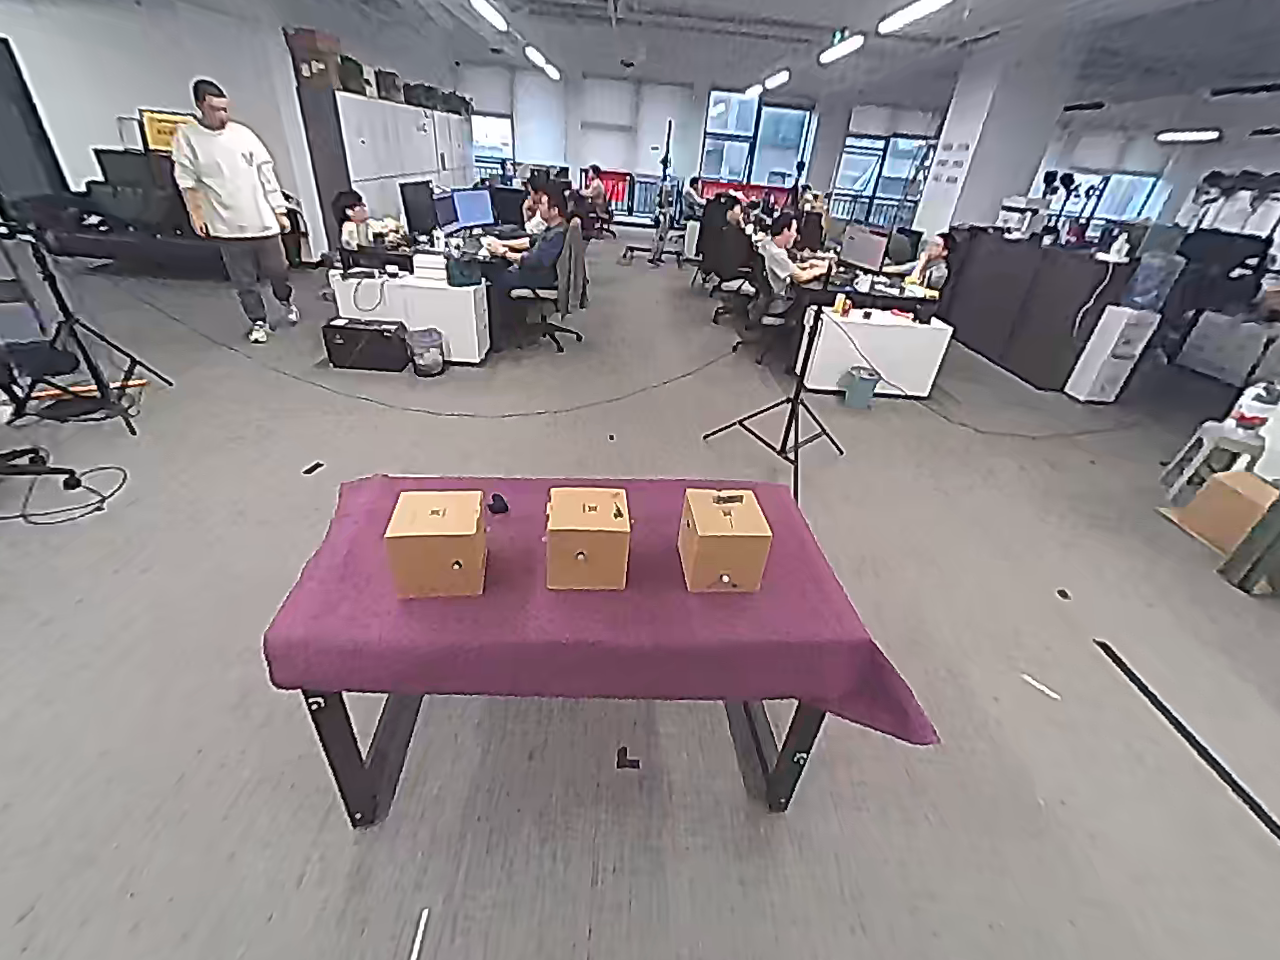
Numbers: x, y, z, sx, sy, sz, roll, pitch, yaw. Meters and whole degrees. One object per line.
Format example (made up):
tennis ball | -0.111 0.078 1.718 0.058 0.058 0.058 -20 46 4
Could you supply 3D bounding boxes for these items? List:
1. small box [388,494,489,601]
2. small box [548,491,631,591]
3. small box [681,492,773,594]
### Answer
small box | -0.426 0.146 1.178 0.179 0.176 0.168 -2 30 -10
small box | -0.115 0.139 1.236 0.179 0.176 0.168 1 31 -6
small box | 0.194 0.146 1.267 0.168 0.176 0.179 1 32 -6
